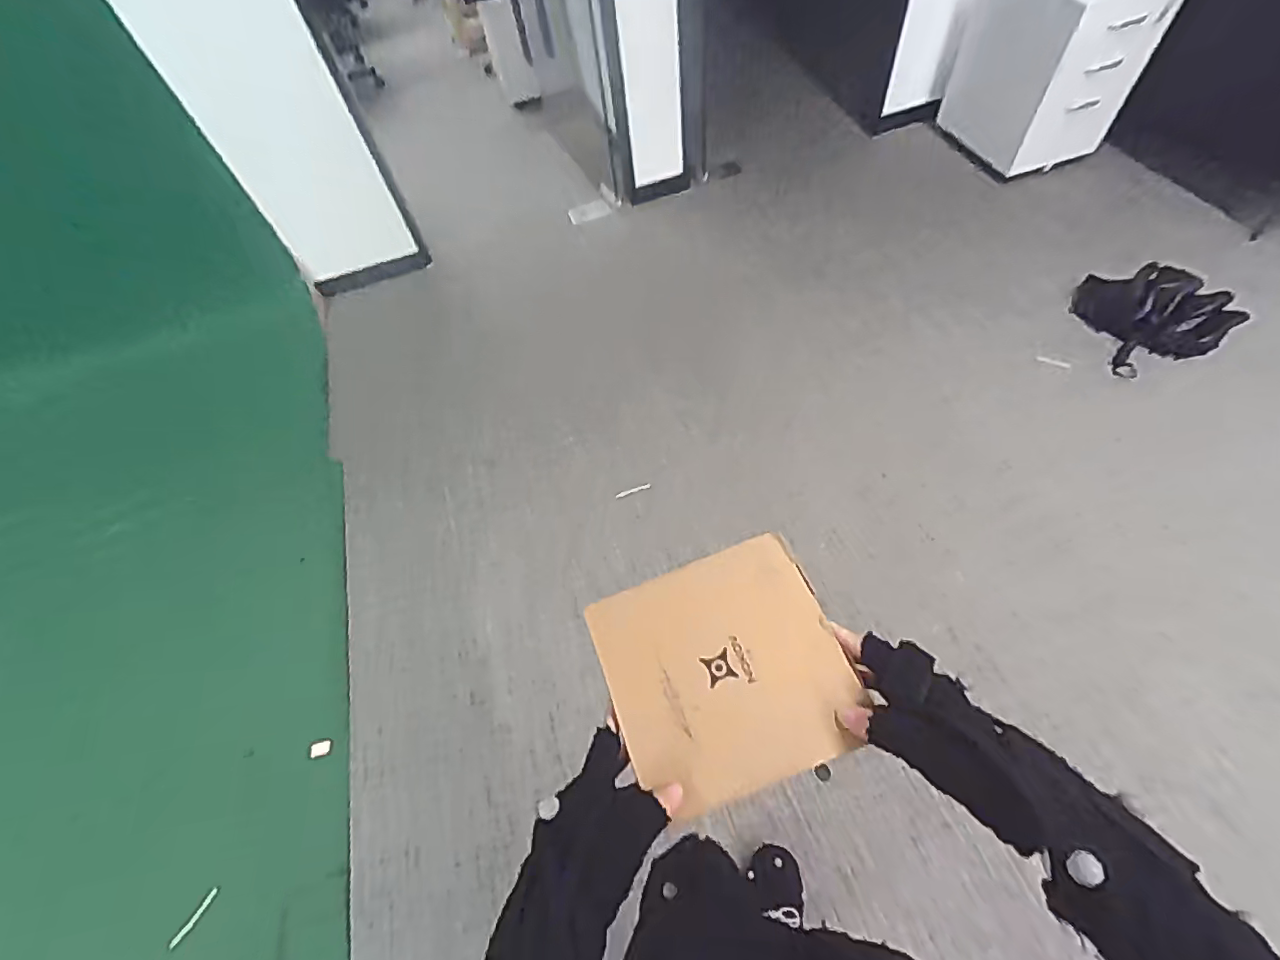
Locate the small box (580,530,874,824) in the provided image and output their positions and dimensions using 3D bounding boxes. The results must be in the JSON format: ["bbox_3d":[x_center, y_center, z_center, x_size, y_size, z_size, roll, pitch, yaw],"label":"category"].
[{"bbox_3d":[0.069,0.173,0.480,0.179,0.176,0.168,-23,62,-2],"label":"small box"}]
